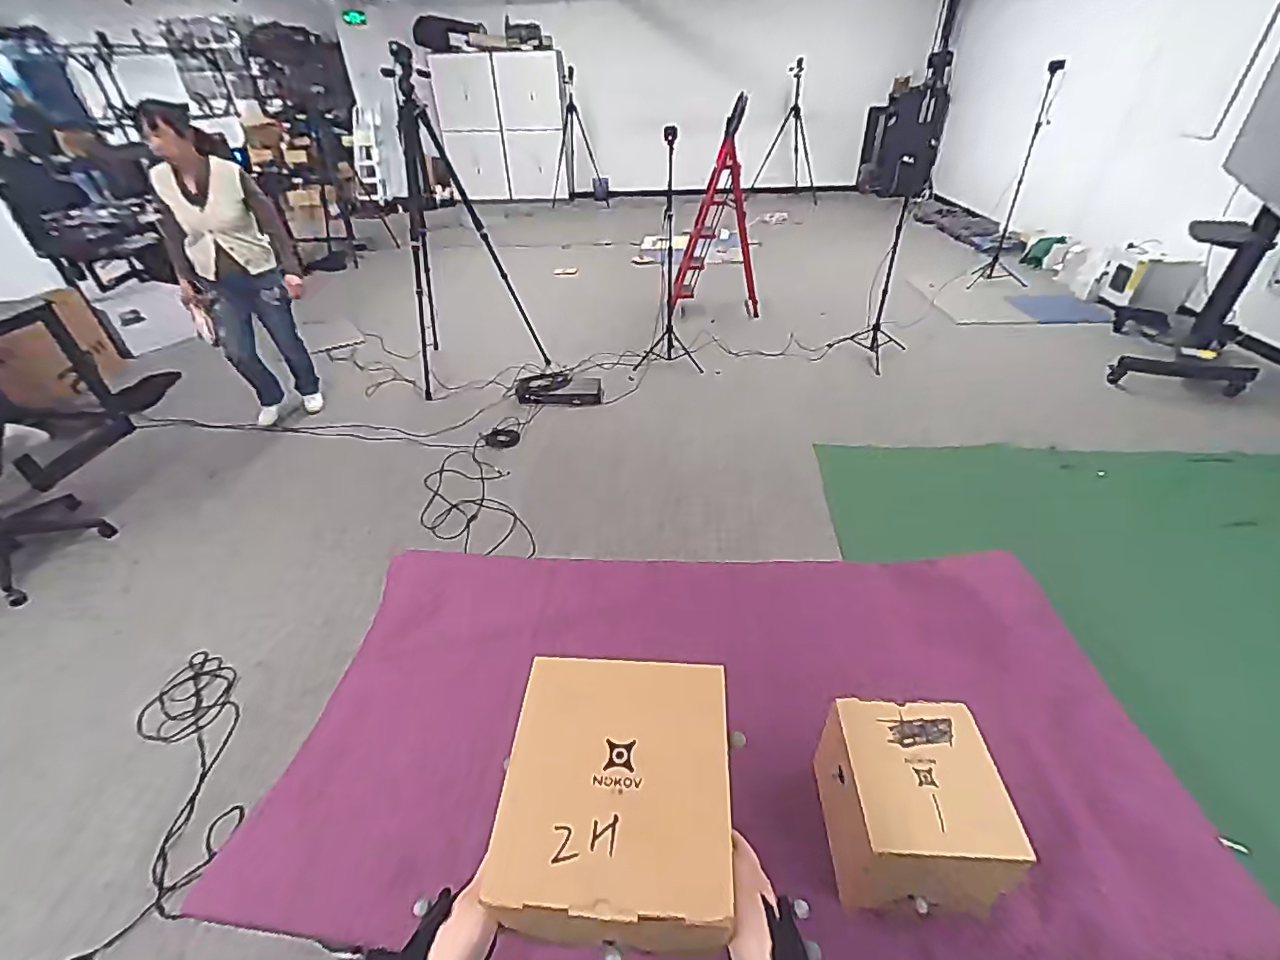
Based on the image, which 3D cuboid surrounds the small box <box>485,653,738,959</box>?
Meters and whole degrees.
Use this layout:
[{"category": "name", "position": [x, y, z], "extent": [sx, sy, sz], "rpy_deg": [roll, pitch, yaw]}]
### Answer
[{"category": "small box", "position": [-0.010, 0.271, 0.454], "extent": [0.168, 0.176, 0.179], "rpy_deg": [1, 42, 5]}]

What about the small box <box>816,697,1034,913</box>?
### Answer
[{"category": "small box", "position": [0.327, 0.397, 0.668], "extent": [0.168, 0.176, 0.179], "rpy_deg": [1, 37, 4]}]
